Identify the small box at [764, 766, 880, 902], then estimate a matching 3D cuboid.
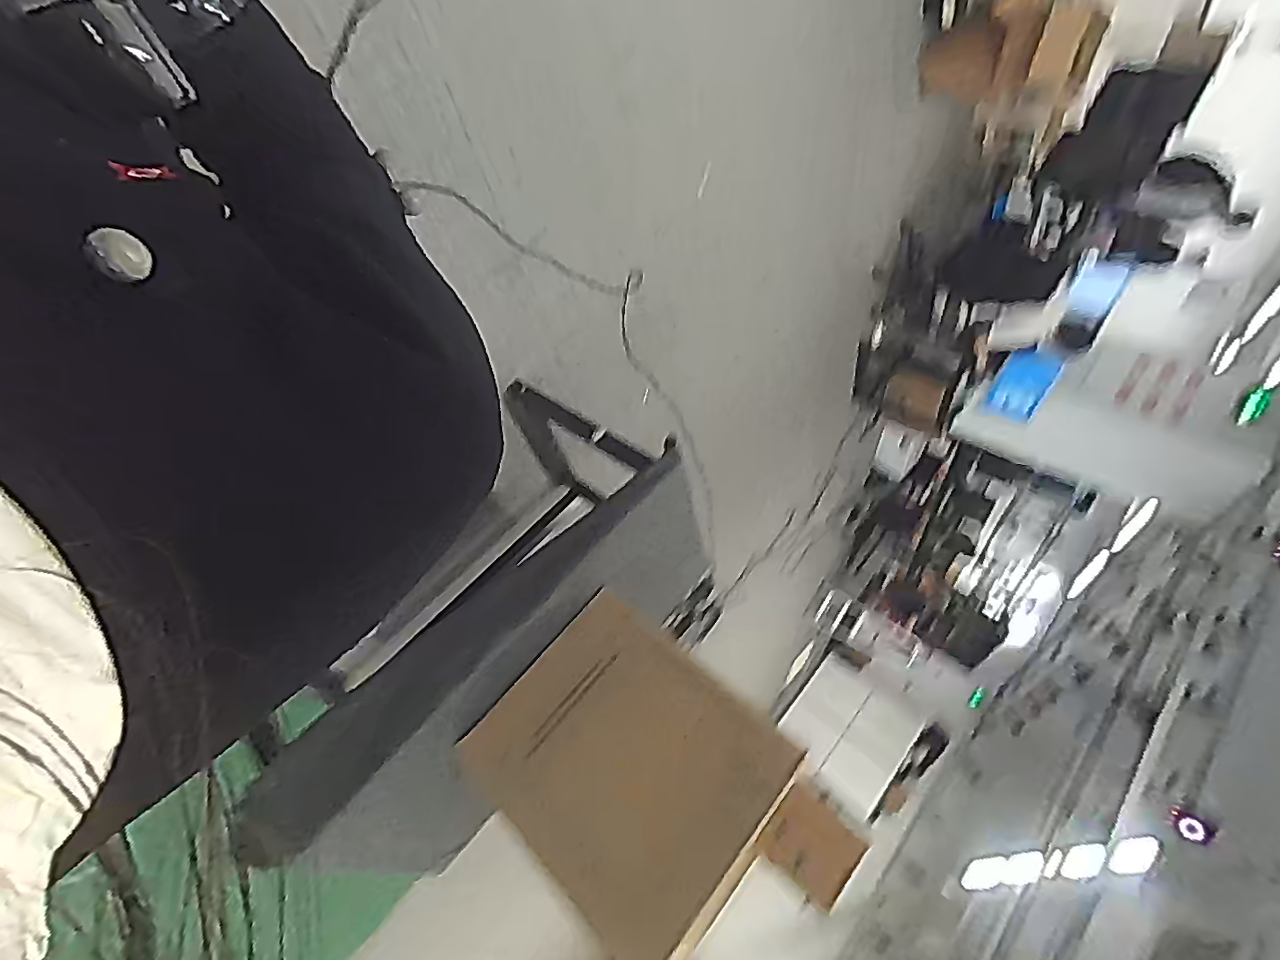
[{"bbox_3d":[0.373,0.727,1.120,0.168,0.176,0.179,-48,145,-17],"label":"small box"}]
